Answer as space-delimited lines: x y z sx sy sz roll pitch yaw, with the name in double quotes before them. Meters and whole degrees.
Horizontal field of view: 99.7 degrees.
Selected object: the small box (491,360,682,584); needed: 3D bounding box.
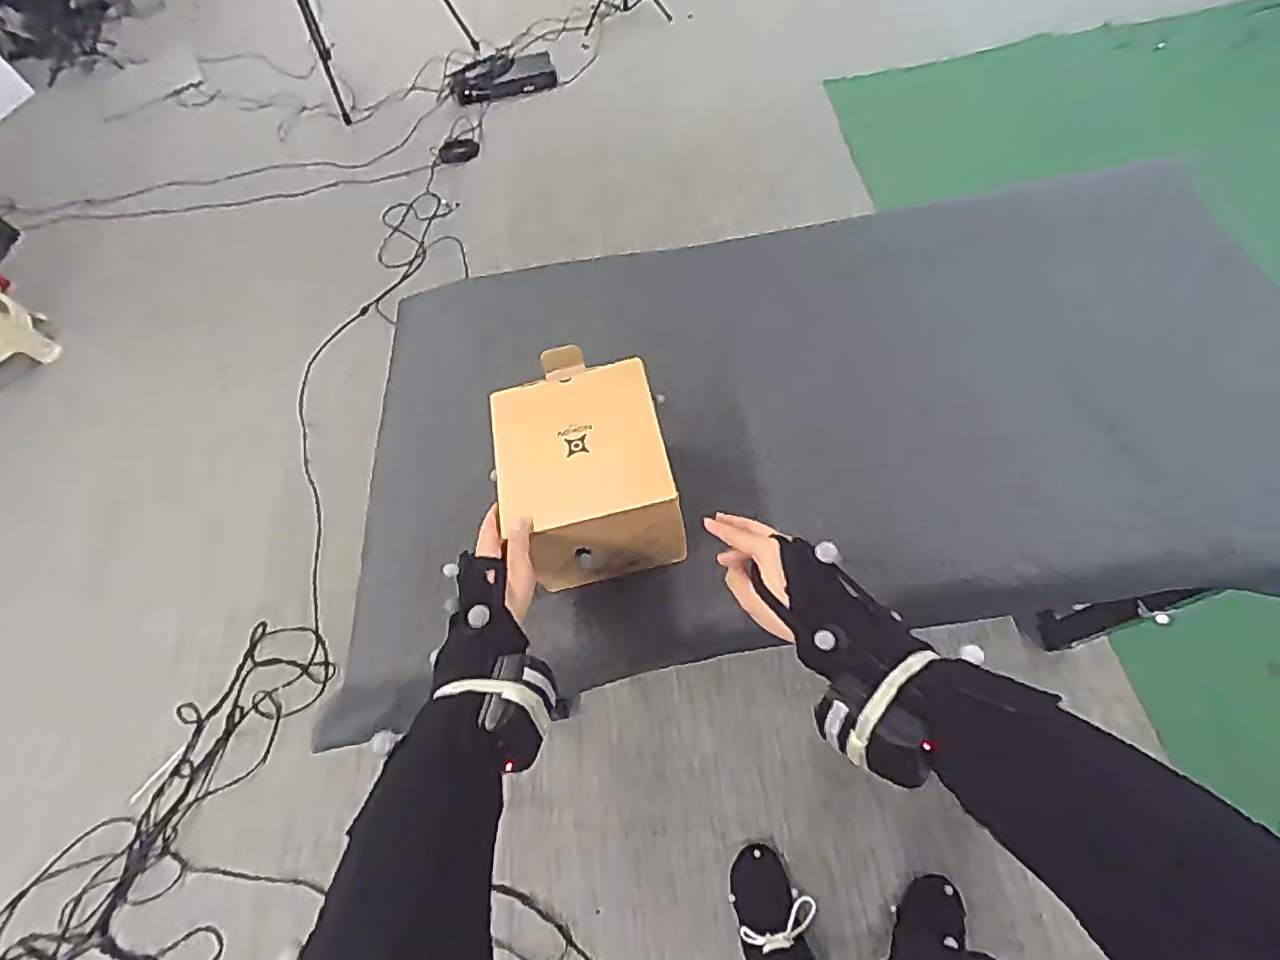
"small box" -0.052 0.003 0.596 0.168 0.176 0.179 -13 60 0
